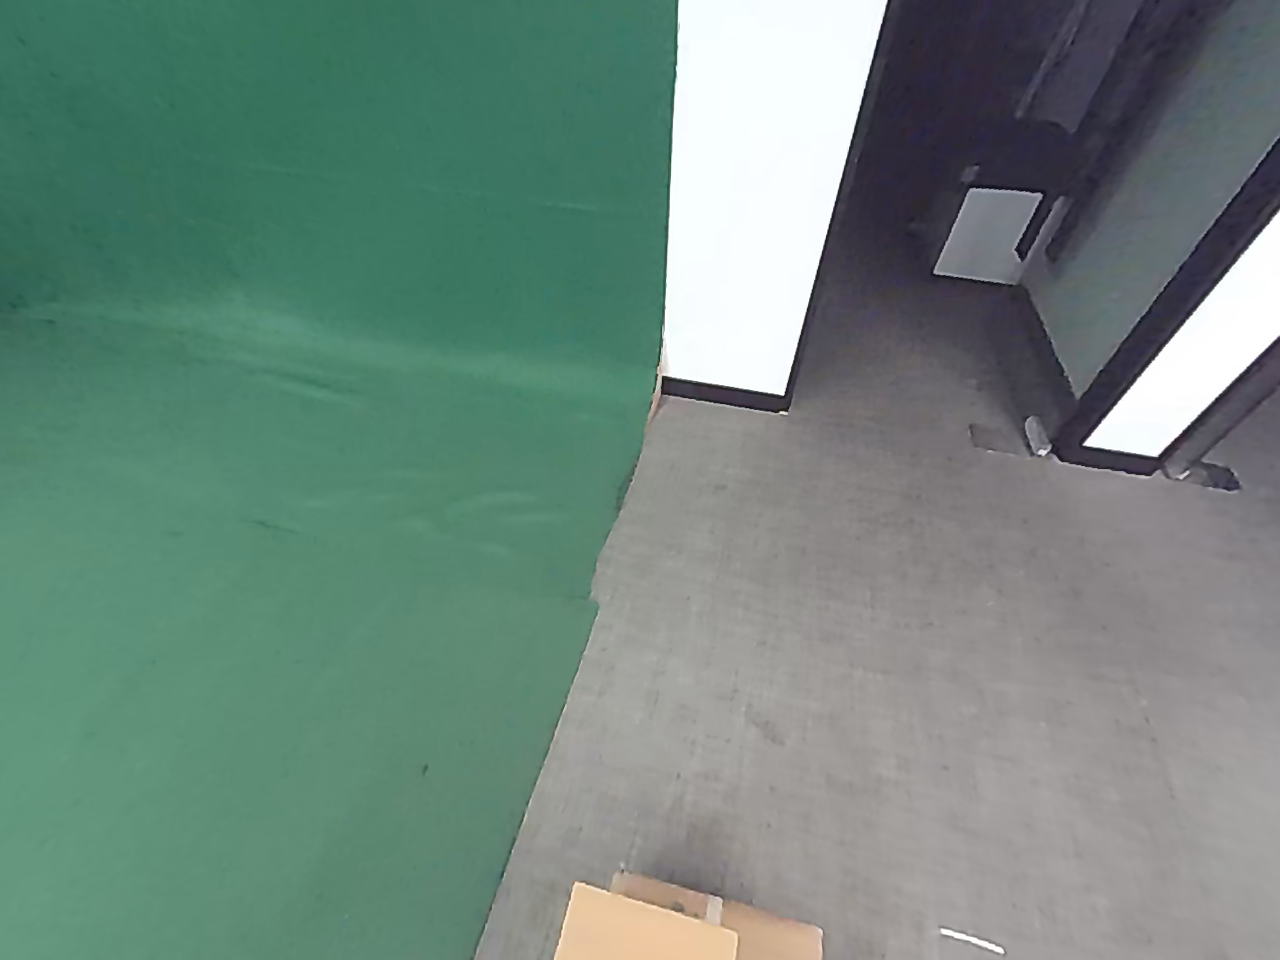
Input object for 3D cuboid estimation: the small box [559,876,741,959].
[{"bbox_3d":[-0.001,0.529,0.532,0.168,0.176,0.179,8,47,11],"label":"small box"}]
